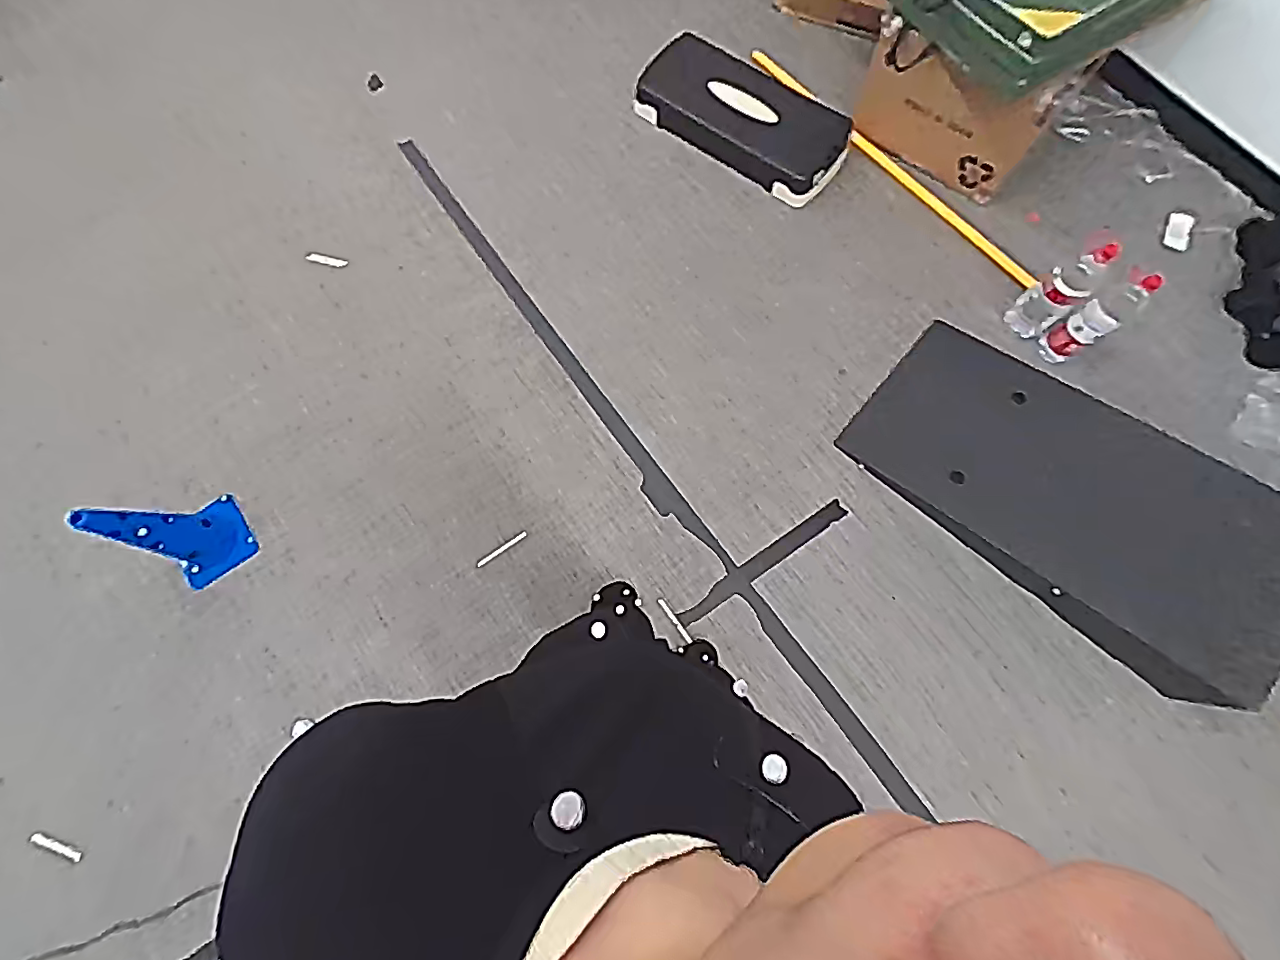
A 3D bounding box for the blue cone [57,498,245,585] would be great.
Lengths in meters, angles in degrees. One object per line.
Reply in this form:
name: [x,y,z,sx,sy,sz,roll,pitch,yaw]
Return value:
blue cone: [-1.176,0.124,1.294,0.193,0.380,0.192,-34,76,-6]
